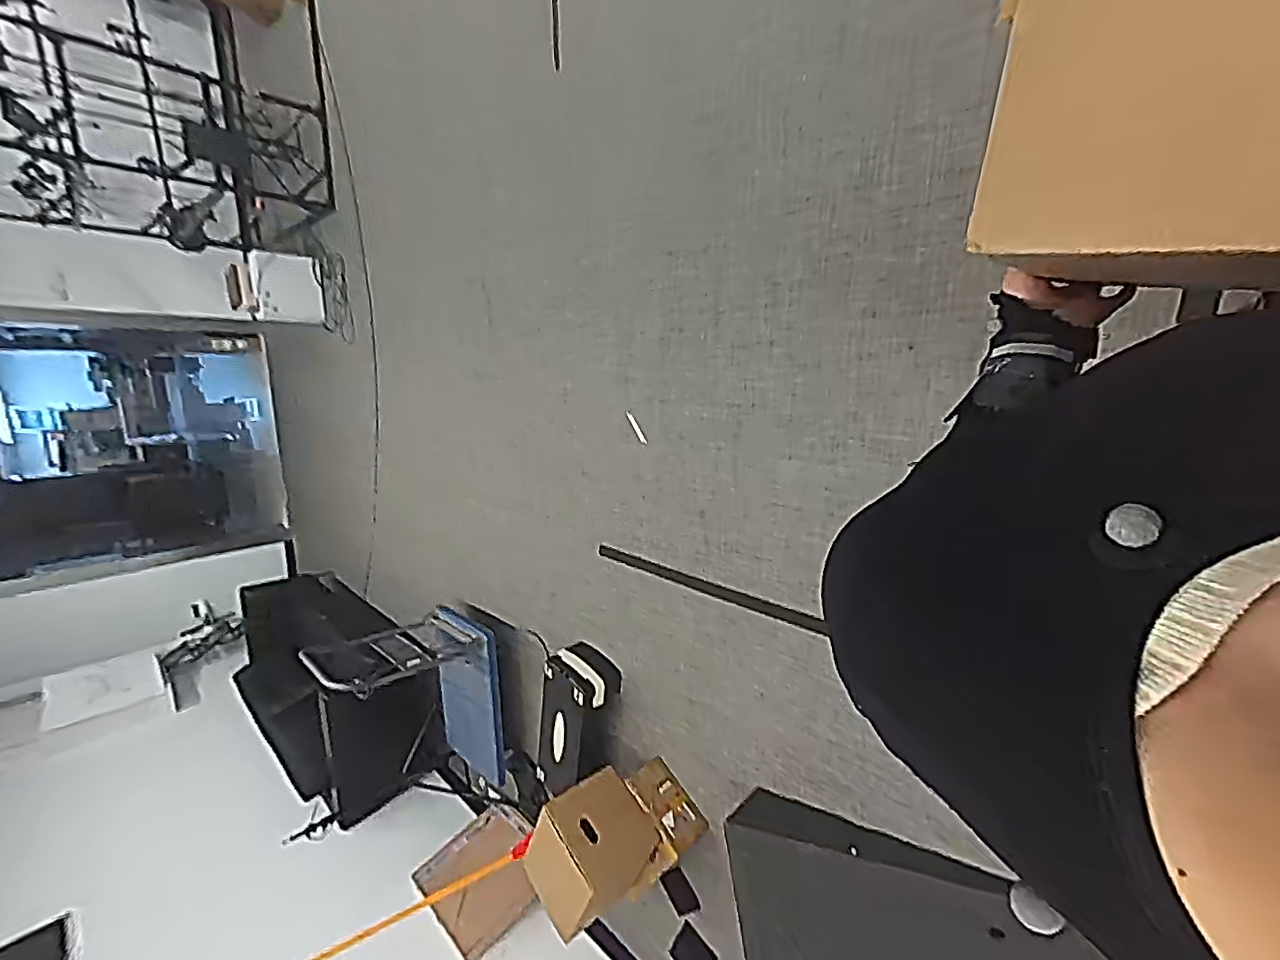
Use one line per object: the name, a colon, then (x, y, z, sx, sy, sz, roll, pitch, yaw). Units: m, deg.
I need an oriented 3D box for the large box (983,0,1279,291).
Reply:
large box: (0.469, -0.269, 0.275, 0.408, 0.320, 0.320, 20, 115, 41)
